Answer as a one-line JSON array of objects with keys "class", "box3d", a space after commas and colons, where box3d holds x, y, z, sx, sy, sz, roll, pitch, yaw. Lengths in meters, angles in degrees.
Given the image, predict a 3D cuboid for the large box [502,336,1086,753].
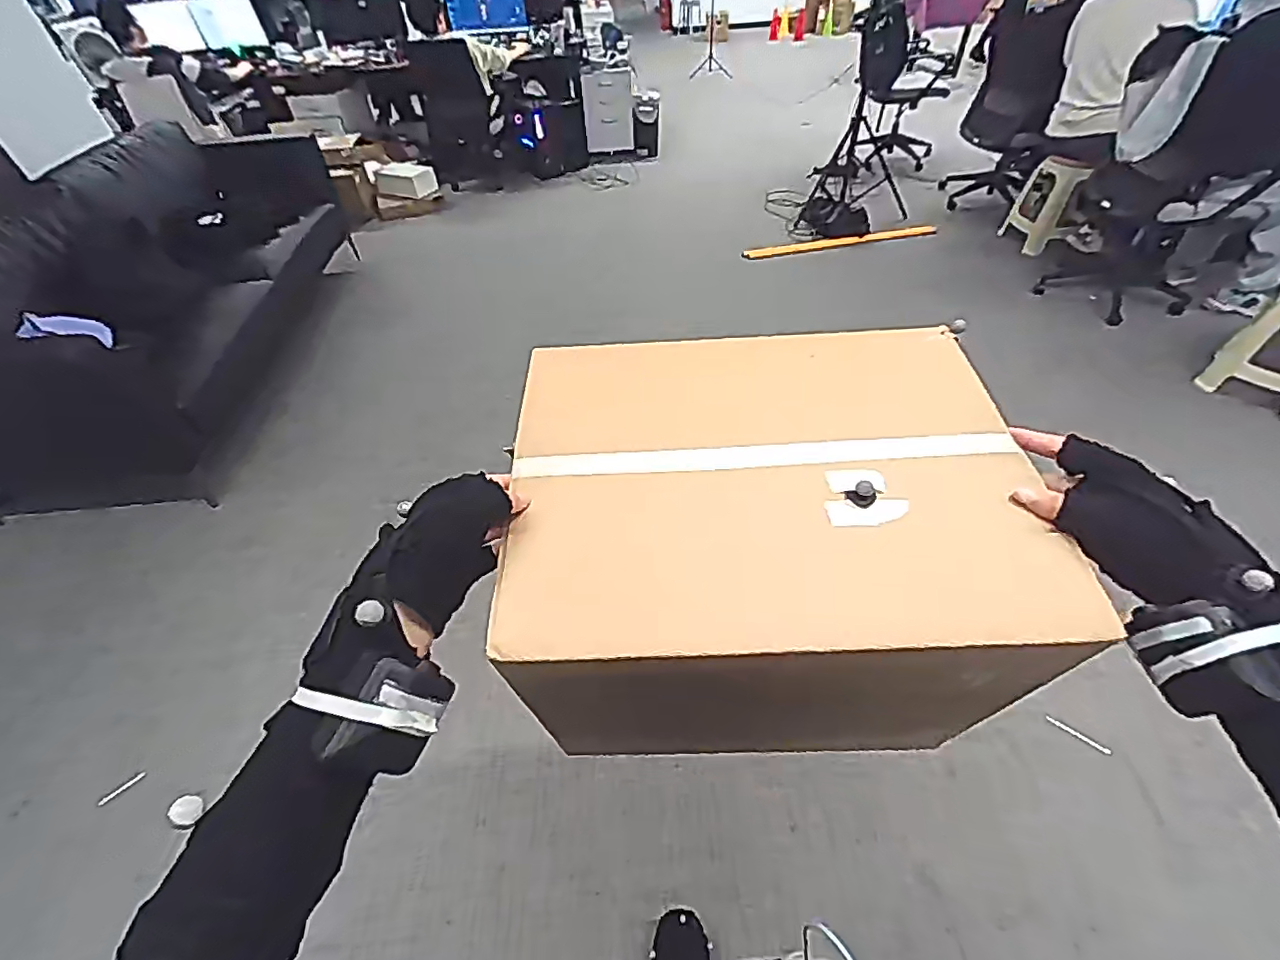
[{"class": "large box", "box3d": [0.104, 0.080, 0.570, 0.408, 0.320, 0.320, -3, 53, 2]}]
